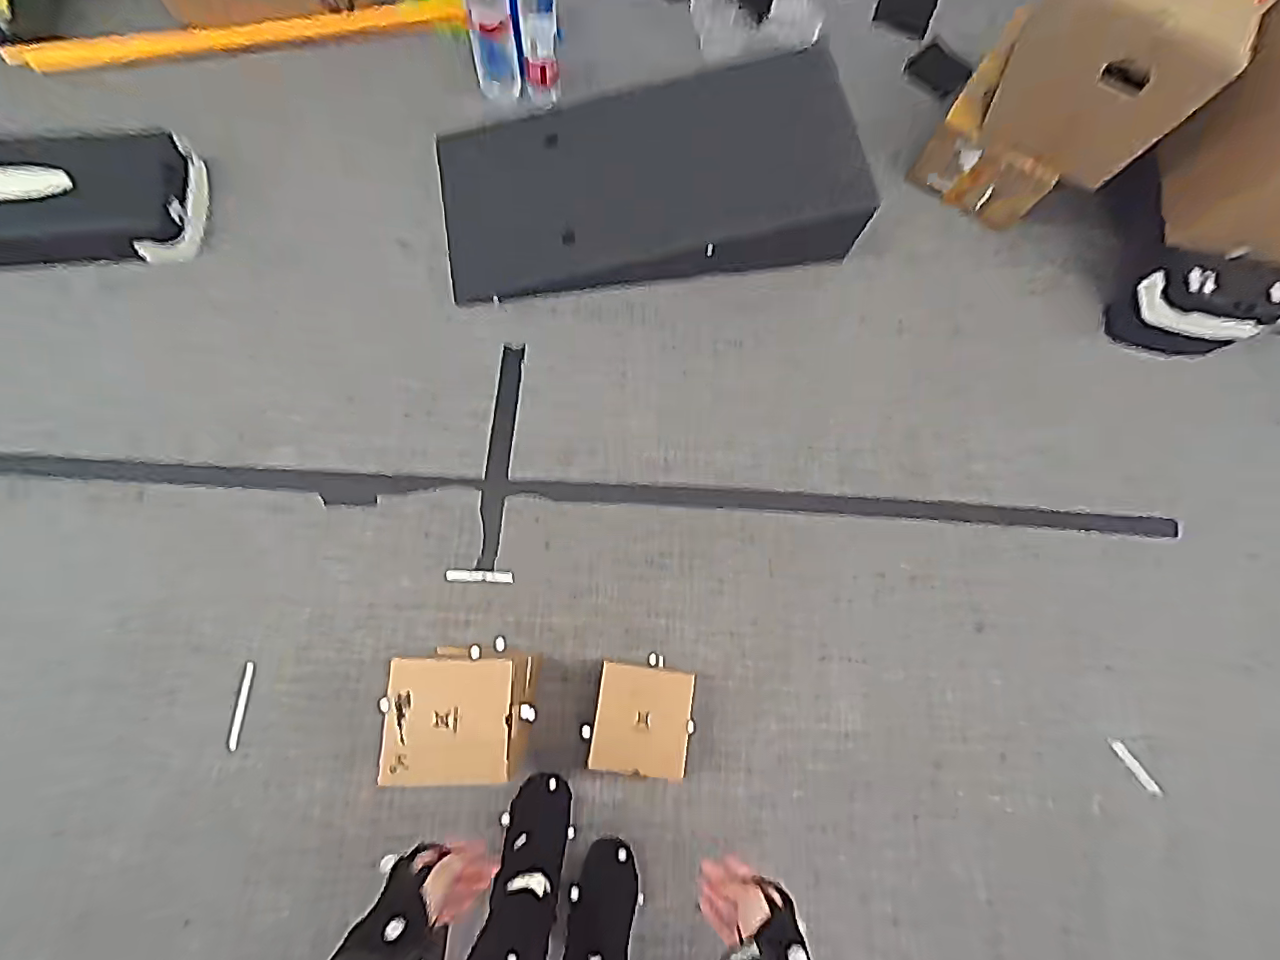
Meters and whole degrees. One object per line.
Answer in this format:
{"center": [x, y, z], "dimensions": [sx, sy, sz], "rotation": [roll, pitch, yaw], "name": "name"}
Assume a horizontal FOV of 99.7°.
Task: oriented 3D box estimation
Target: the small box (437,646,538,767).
{"center": [-0.283, 0.403, 0.984], "dimensions": [0.168, 0.176, 0.179], "rotation": [7, 74, -4], "name": "small box"}

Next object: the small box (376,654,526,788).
{"center": [-0.273, 0.357, 0.827], "dimensions": [0.179, 0.176, 0.168], "rotation": [3, 74, -5], "name": "small box"}

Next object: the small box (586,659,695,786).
{"center": [-0.003, 0.438, 1.003], "dimensions": [0.168, 0.176, 0.179], "rotation": [10, 74, -3], "name": "small box"}
